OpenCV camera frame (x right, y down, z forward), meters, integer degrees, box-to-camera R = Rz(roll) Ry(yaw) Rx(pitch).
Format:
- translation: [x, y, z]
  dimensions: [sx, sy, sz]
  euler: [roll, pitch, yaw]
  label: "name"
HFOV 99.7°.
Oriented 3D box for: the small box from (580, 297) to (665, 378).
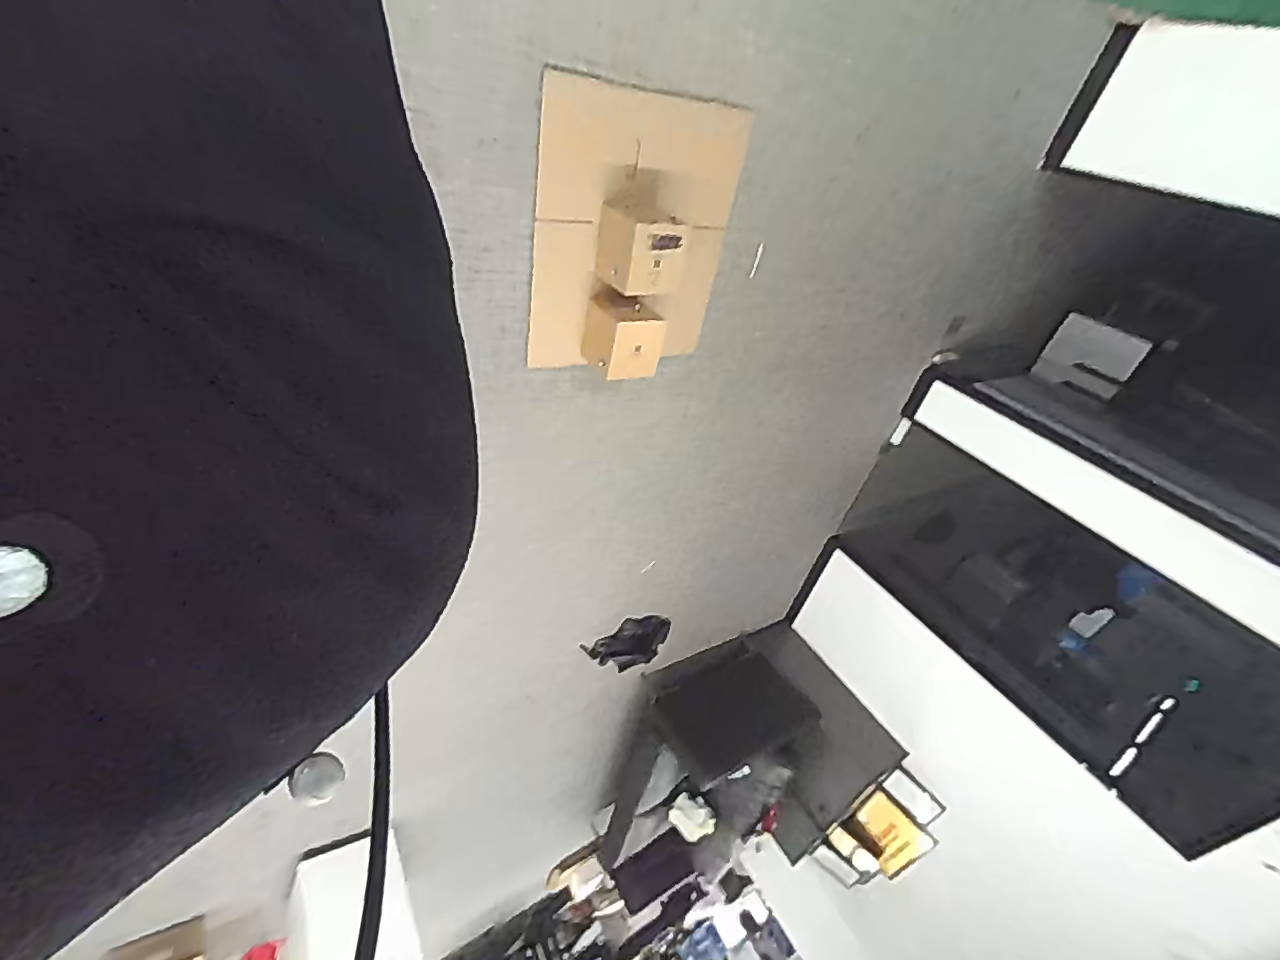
- translation: [-0.056, -0.410, 1.538]
  dimensions: [0.168, 0.176, 0.179]
  euler: [-12, 134, -32]
  label: "small box"
